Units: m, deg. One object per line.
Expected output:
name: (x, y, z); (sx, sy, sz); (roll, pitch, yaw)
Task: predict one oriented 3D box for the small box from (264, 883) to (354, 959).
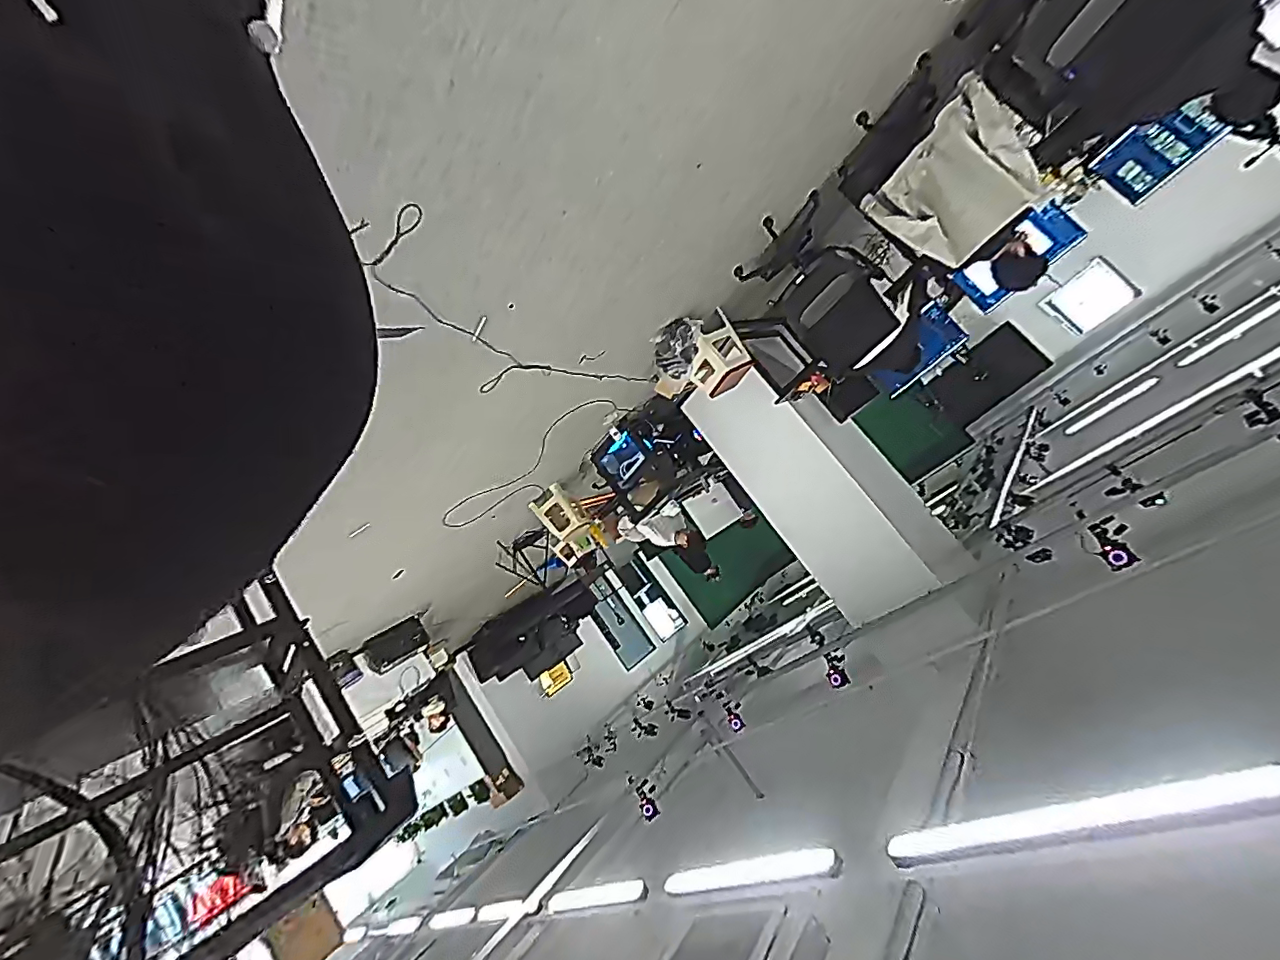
small box: (-0.957, 1.304, 1.560); (0.168, 0.176, 0.179); (-24, 165, -45)
